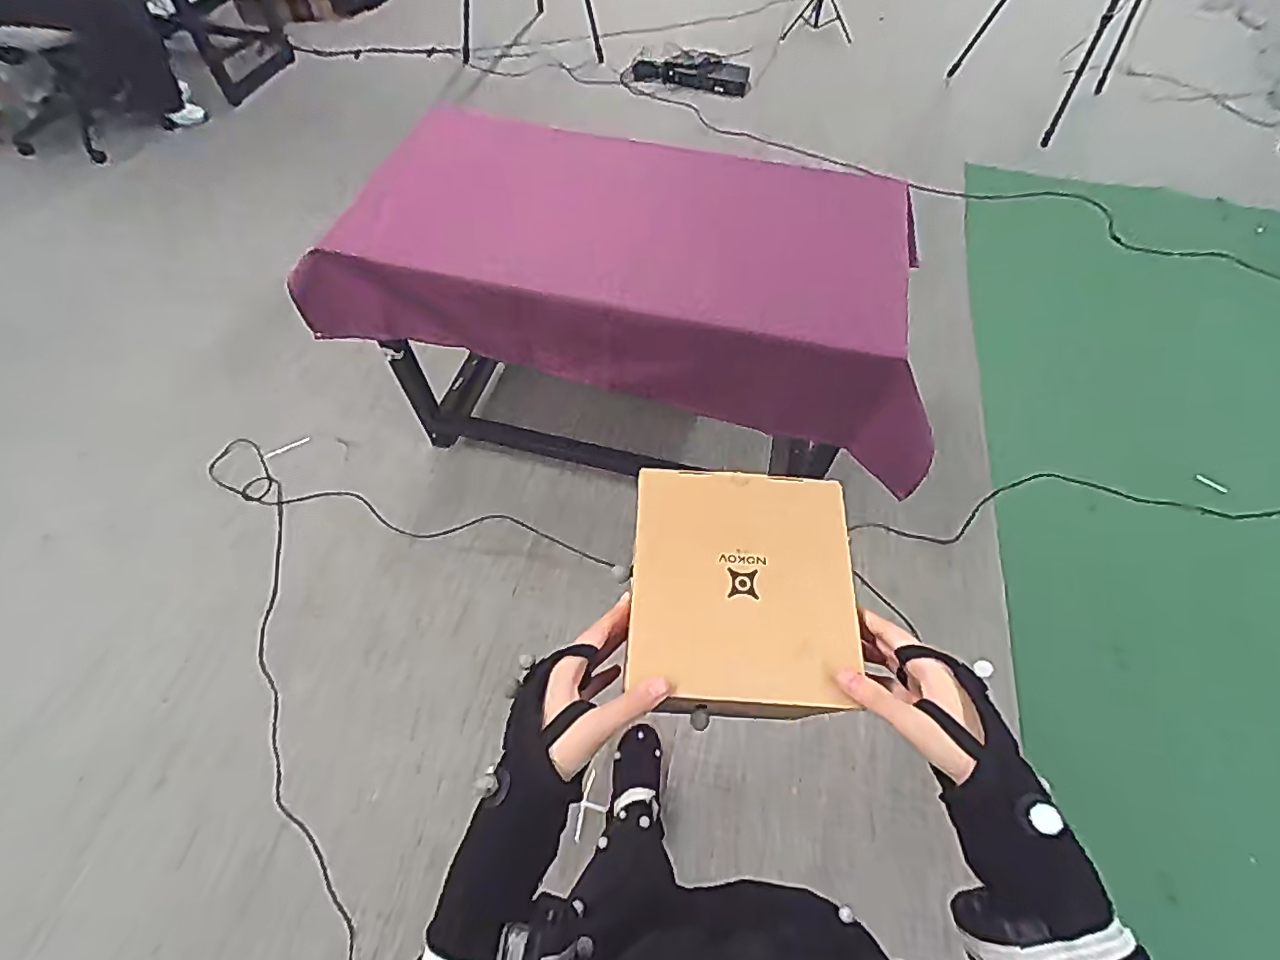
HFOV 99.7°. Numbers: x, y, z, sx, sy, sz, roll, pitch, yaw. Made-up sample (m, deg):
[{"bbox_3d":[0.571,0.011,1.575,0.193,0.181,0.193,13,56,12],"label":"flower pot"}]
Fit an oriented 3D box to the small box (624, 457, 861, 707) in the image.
[{"bbox_3d":[0.075,0.099,0.479,0.168,0.176,0.179,3,62,0],"label":"small box"}]
